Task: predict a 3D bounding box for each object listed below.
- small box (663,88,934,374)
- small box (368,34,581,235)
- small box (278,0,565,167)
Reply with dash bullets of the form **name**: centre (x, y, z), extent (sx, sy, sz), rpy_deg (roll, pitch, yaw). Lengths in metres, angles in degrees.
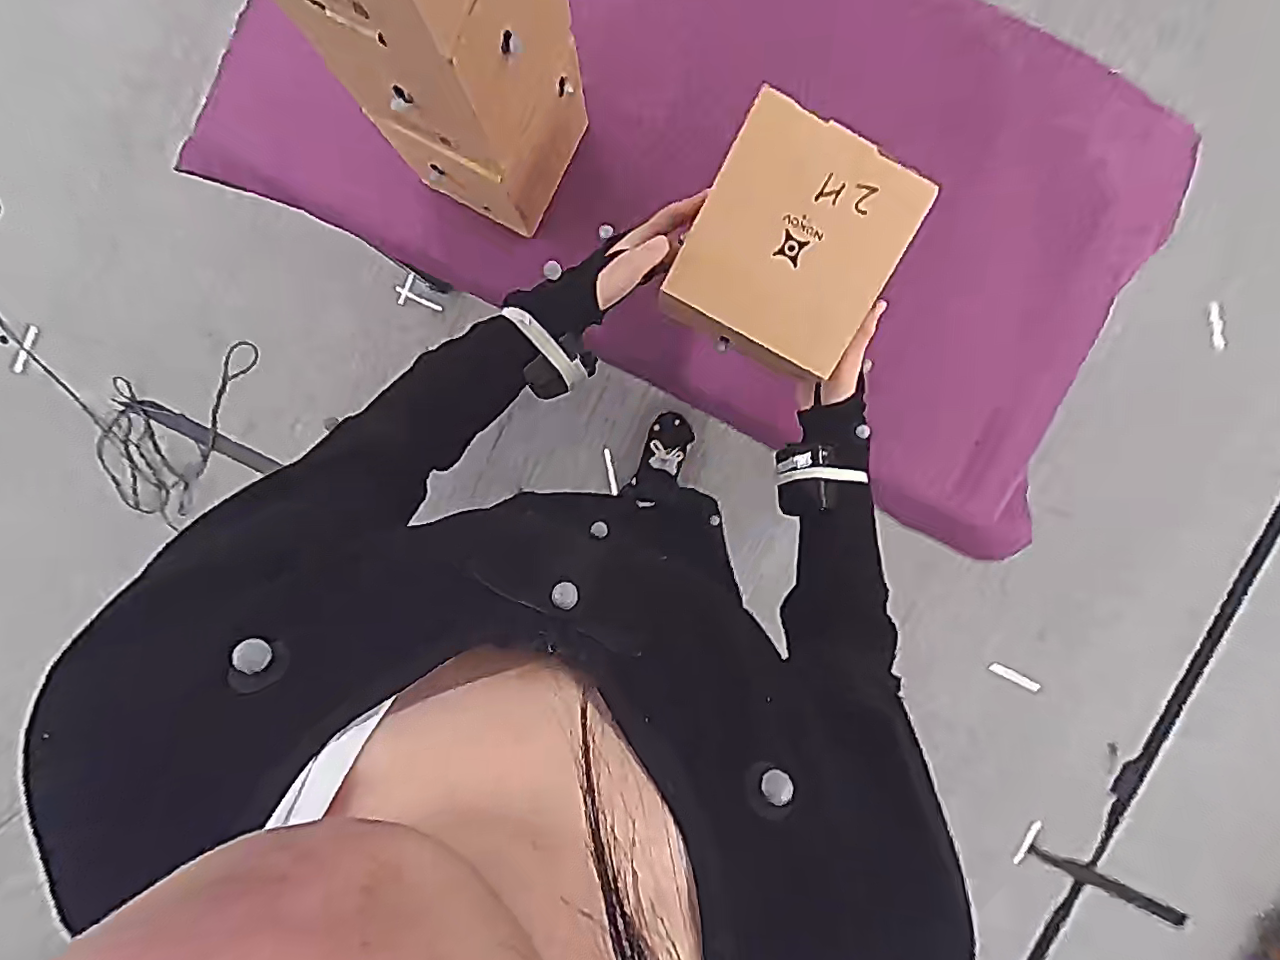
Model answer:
- **small box**: centre (0.135, -0.219, 0.533), extent (0.168, 0.176, 0.179), rpy_deg (28, 100, -5)
- **small box**: centre (-0.181, -0.434, 0.655), extent (0.168, 0.176, 0.179), rpy_deg (27, 92, -2)
- **small box**: centre (-0.179, -0.430, 0.491), extent (0.168, 0.176, 0.179), rpy_deg (25, 93, -2)
